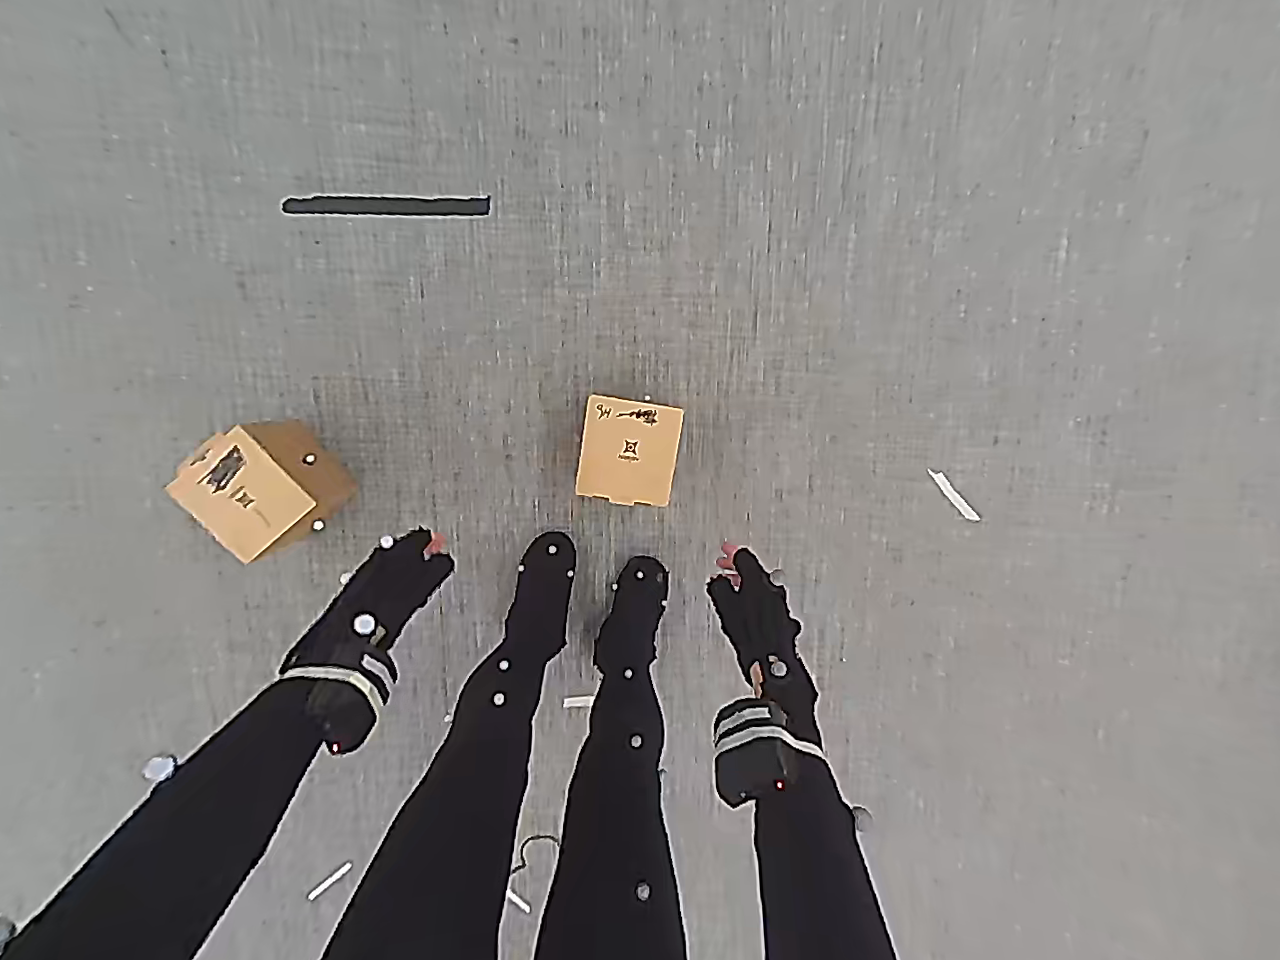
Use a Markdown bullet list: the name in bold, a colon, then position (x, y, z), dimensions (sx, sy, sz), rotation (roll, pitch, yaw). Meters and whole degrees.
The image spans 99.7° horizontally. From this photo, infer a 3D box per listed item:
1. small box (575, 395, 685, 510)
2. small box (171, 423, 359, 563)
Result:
- **small box**: position (-0.023, -0.057, 1.002), dimensions (0.168, 0.176, 0.179), rotation (9, 98, -6)
- **small box**: position (-0.650, 0.013, 0.962), dimensions (0.168, 0.176, 0.179), rotation (-39, 100, 3)
